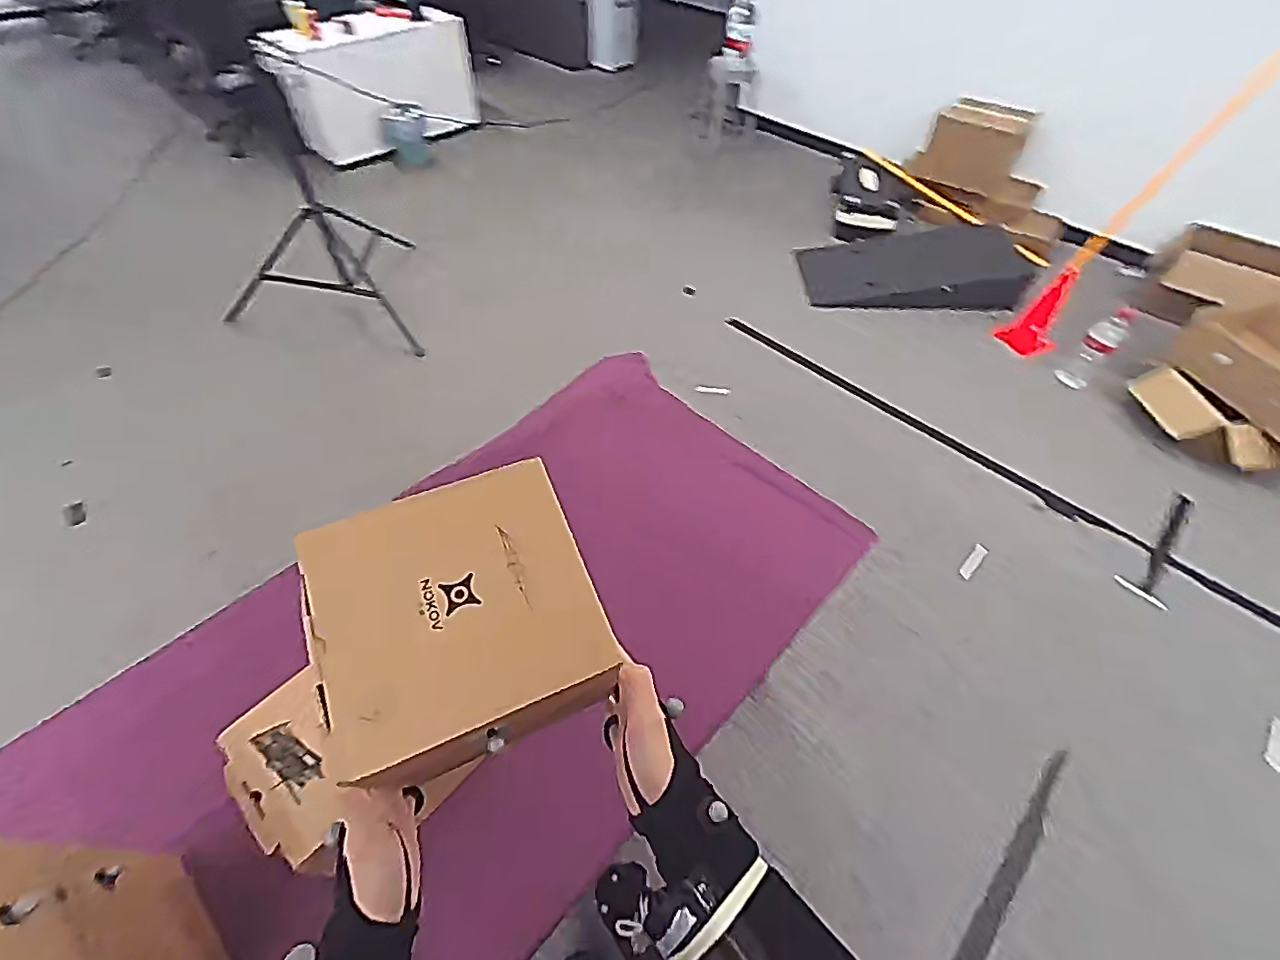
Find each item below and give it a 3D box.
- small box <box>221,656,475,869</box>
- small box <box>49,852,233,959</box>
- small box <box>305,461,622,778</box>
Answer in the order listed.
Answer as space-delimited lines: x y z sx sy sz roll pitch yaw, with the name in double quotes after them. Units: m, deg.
-0.311 0.304 0.617 0.168 0.176 0.179 36 58 23 "small box"
-0.511 0.473 0.482 0.179 0.176 0.168 34 59 23 "small box"
-0.126 0.116 0.427 0.179 0.176 0.168 -18 65 -16 "small box"
